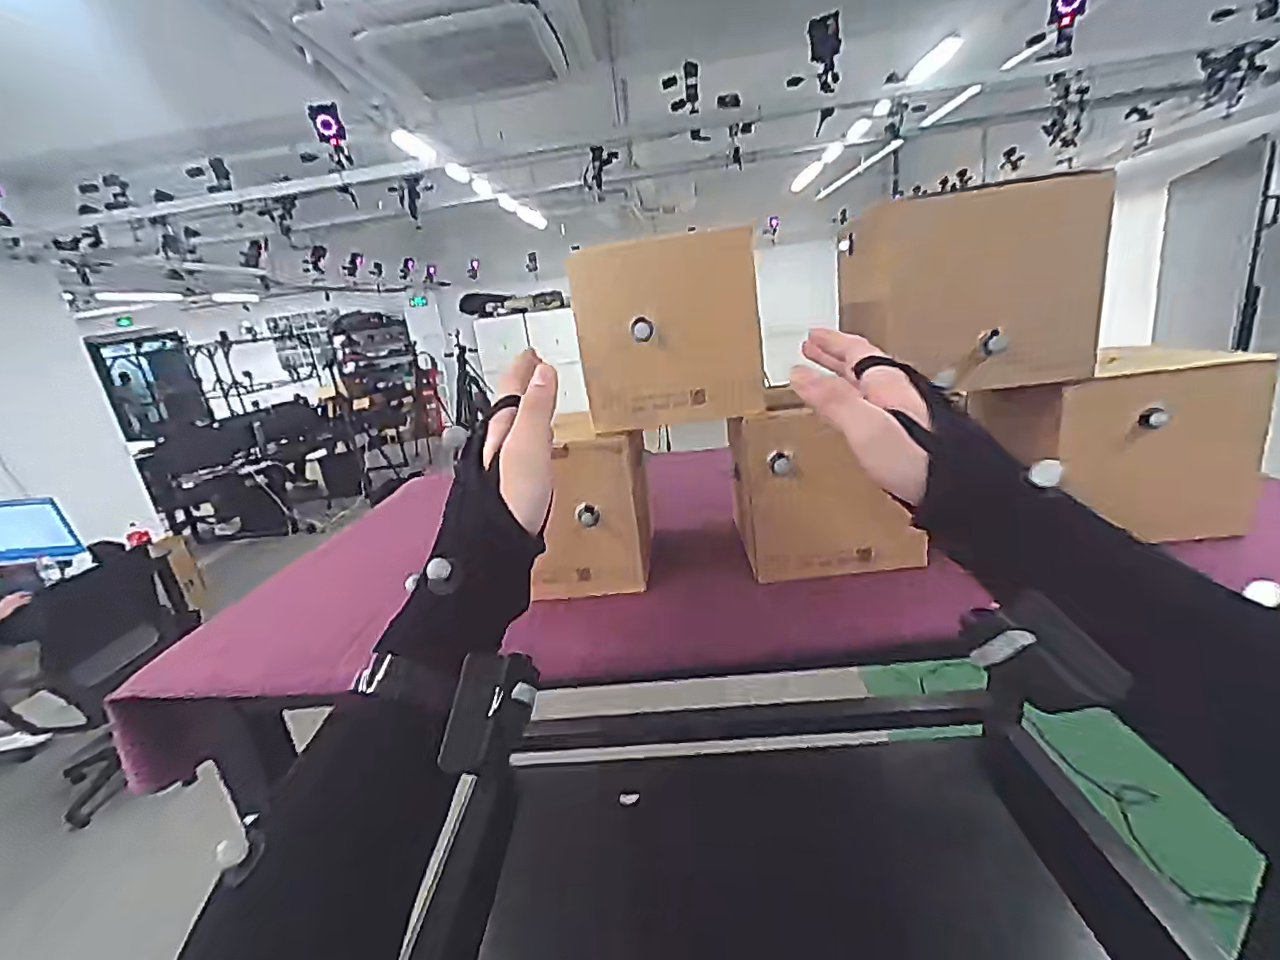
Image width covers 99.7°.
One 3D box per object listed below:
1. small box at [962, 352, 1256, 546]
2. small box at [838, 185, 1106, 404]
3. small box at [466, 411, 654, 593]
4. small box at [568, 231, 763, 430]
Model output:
[{"bbox_3d":[0.473,-0.037,0.577,0.179,0.176,0.168,-6,17,5],"label":"small box"},{"bbox_3d":[0.306,-0.177,0.542,0.179,0.176,0.168,-5,16,6],"label":"small box"},{"bbox_3d":[-0.075,0.020,0.620,0.168,0.176,0.179,-4,17,6],"label":"small box"},{"bbox_3d":[0.032,-0.150,0.576,0.168,0.176,0.179,-7,16,5],"label":"small box"}]
